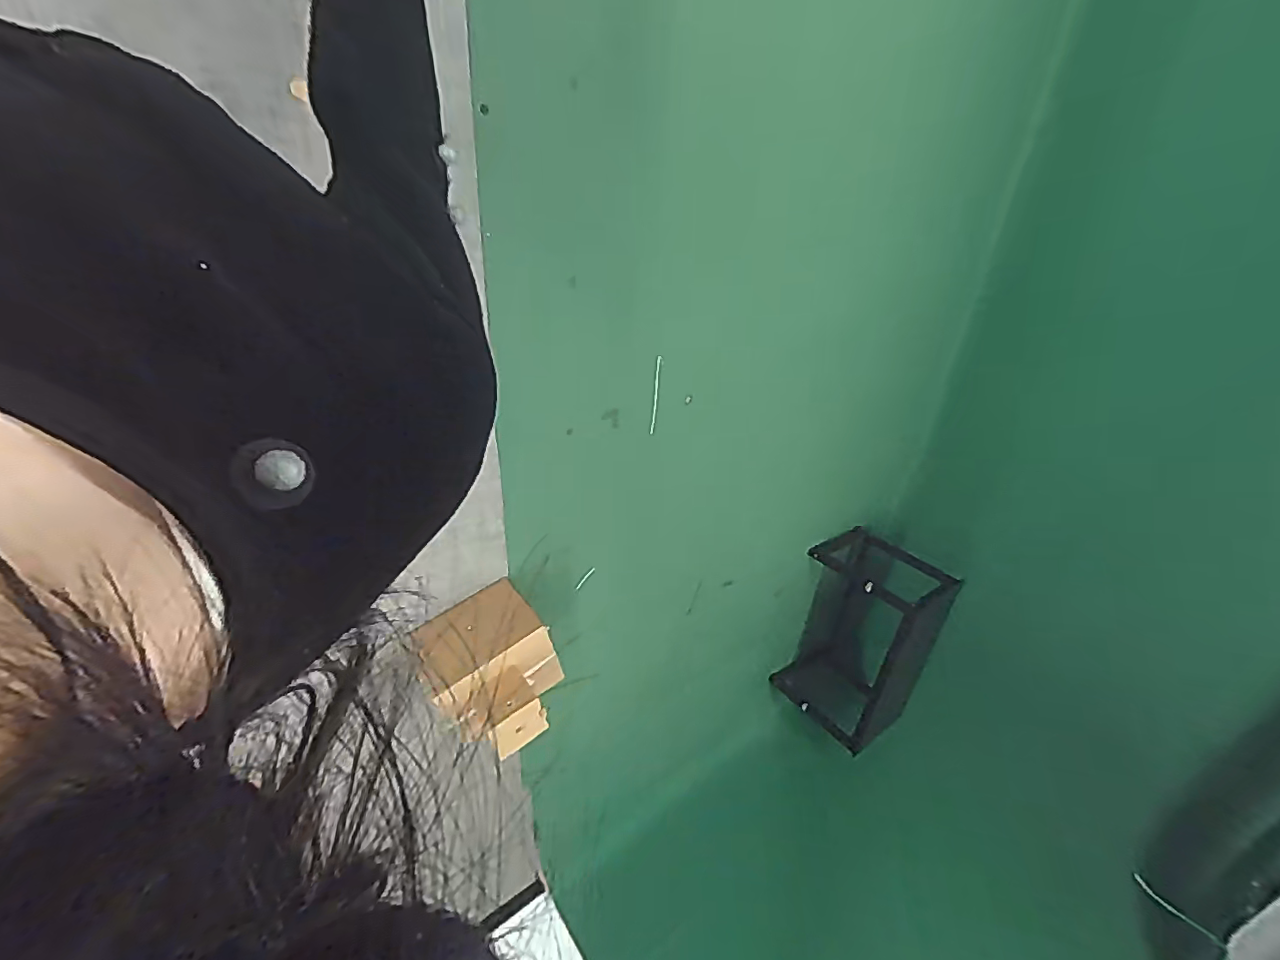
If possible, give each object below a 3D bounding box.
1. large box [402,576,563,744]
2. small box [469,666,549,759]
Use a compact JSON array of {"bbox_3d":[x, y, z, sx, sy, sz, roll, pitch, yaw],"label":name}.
[{"bbox_3d":[-0.547,0.621,1.908,0.408,0.320,0.320,-31,133,-26],"label":"large box"},{"bbox_3d":[-0.420,0.736,1.729,0.179,0.176,0.168,-27,128,-27],"label":"small box"}]
